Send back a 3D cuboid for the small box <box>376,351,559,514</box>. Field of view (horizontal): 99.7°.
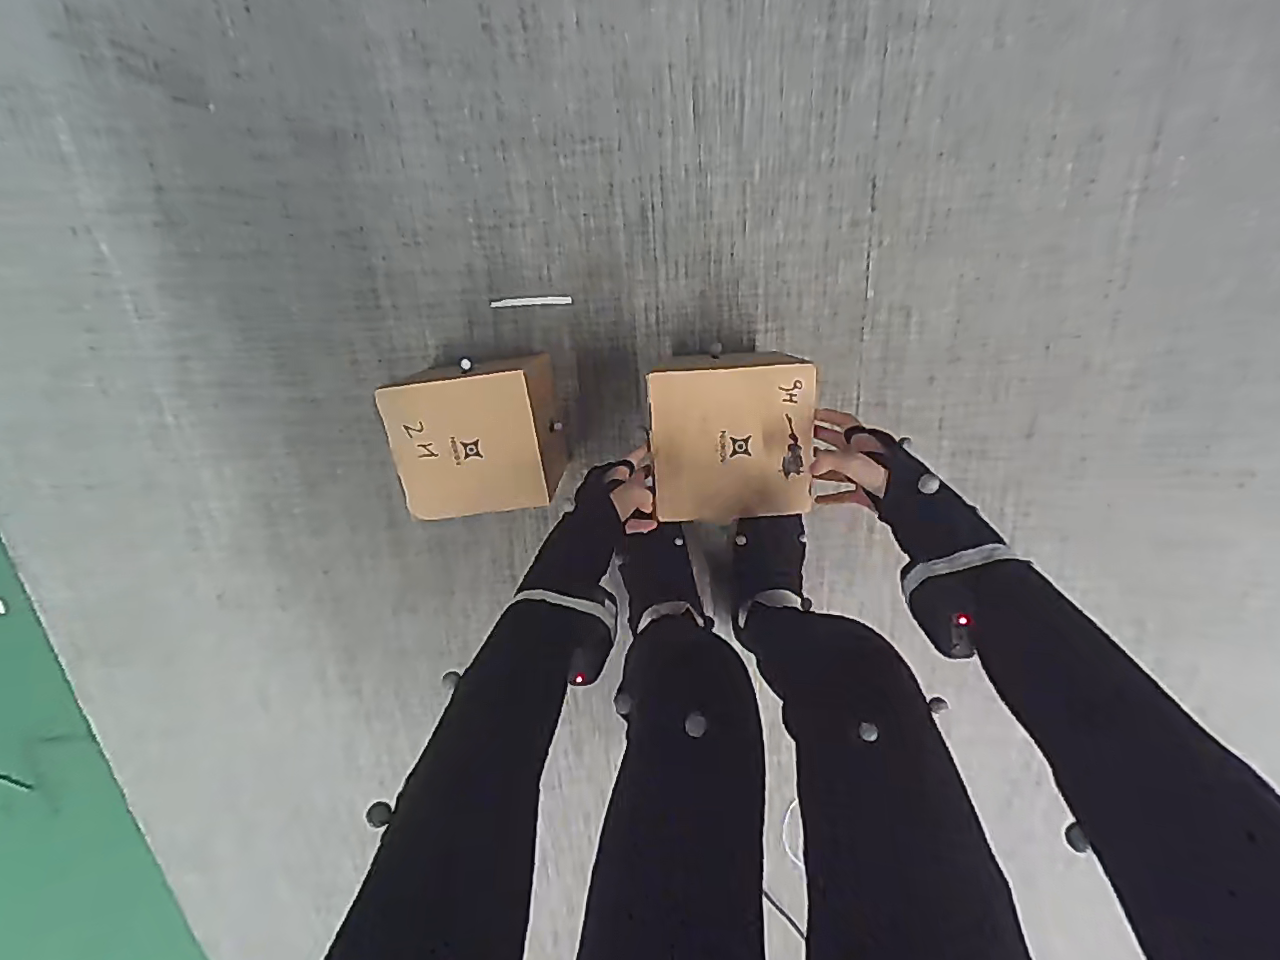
[{"bbox_3d":[-0.209,-0.071,0.718,0.179,0.176,0.168,-7,110,3],"label":"small box"}]

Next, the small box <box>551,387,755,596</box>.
[{"bbox_3d":[0.005,0.011,0.614,0.168,0.179,0.176,8,135,-23],"label":"small box"}]
